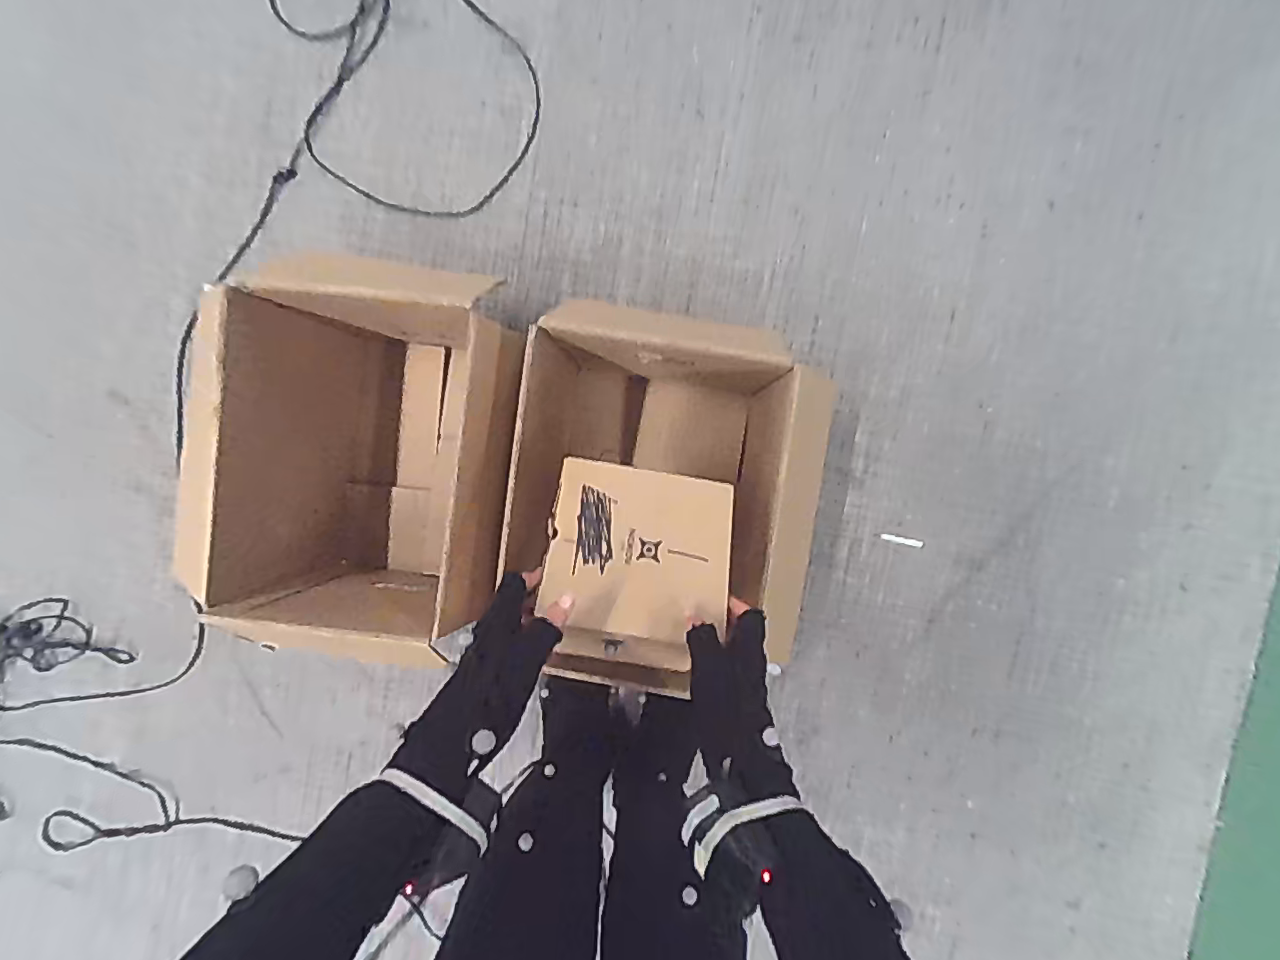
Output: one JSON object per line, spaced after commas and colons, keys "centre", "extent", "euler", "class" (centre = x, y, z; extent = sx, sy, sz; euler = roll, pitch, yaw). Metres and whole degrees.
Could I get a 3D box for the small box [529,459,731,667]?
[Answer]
{"centre": [-0.012, 0.098, 0.580], "extent": [0.179, 0.176, 0.168], "euler": [10, 64, -4], "class": "small box"}
